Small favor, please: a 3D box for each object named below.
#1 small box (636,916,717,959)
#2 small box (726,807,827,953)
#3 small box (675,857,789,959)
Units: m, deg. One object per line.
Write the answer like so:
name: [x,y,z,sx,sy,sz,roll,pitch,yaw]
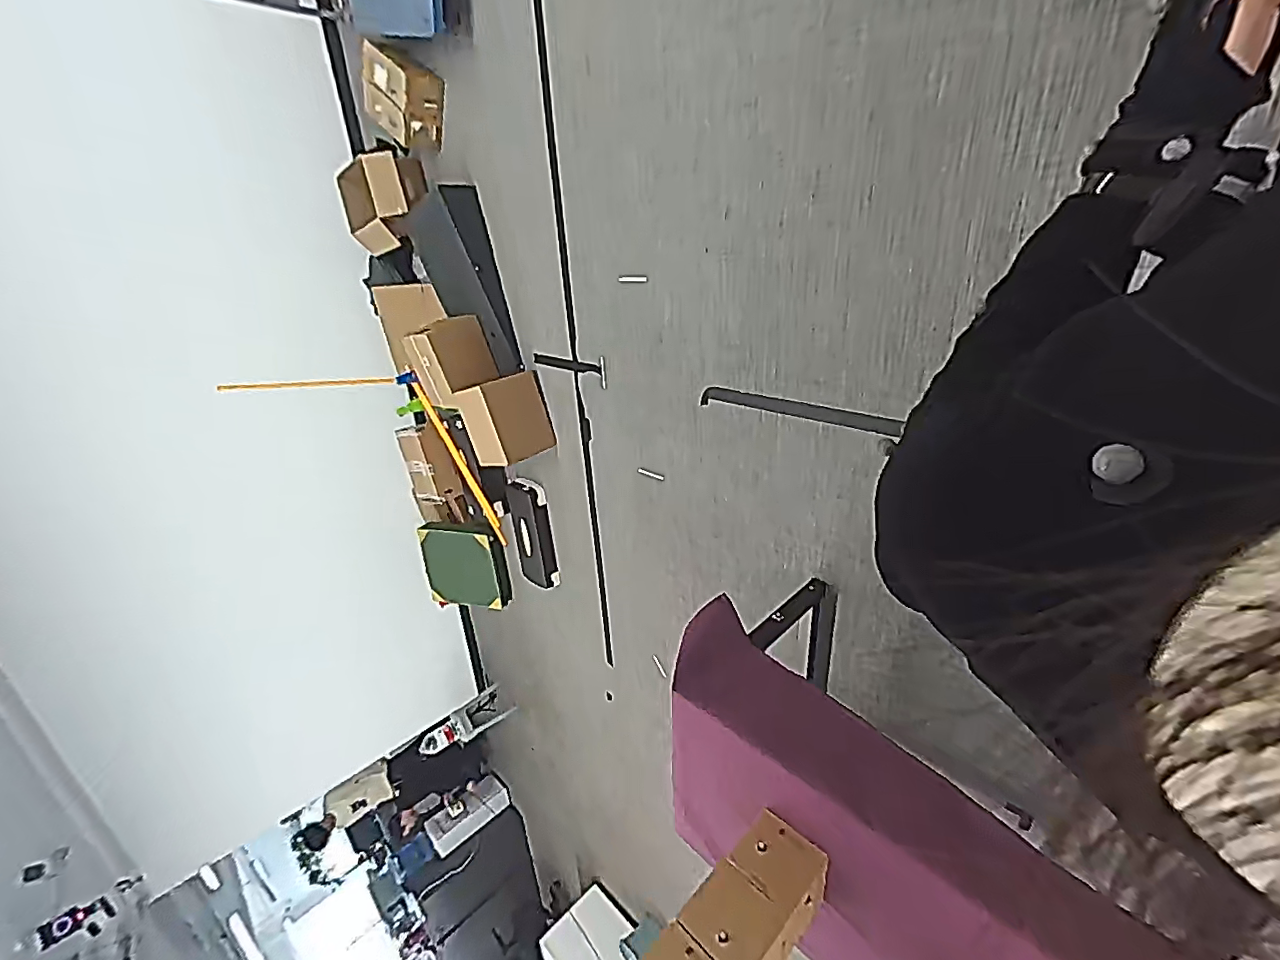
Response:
small box: [0.076,1.016,1.045,0.168,0.176,0.179,20,124,42]
small box: [0.312,0.908,1.245,0.168,0.176,0.179,21,124,42]
small box: [0.196,0.958,1.141,0.179,0.176,0.168,20,122,43]
